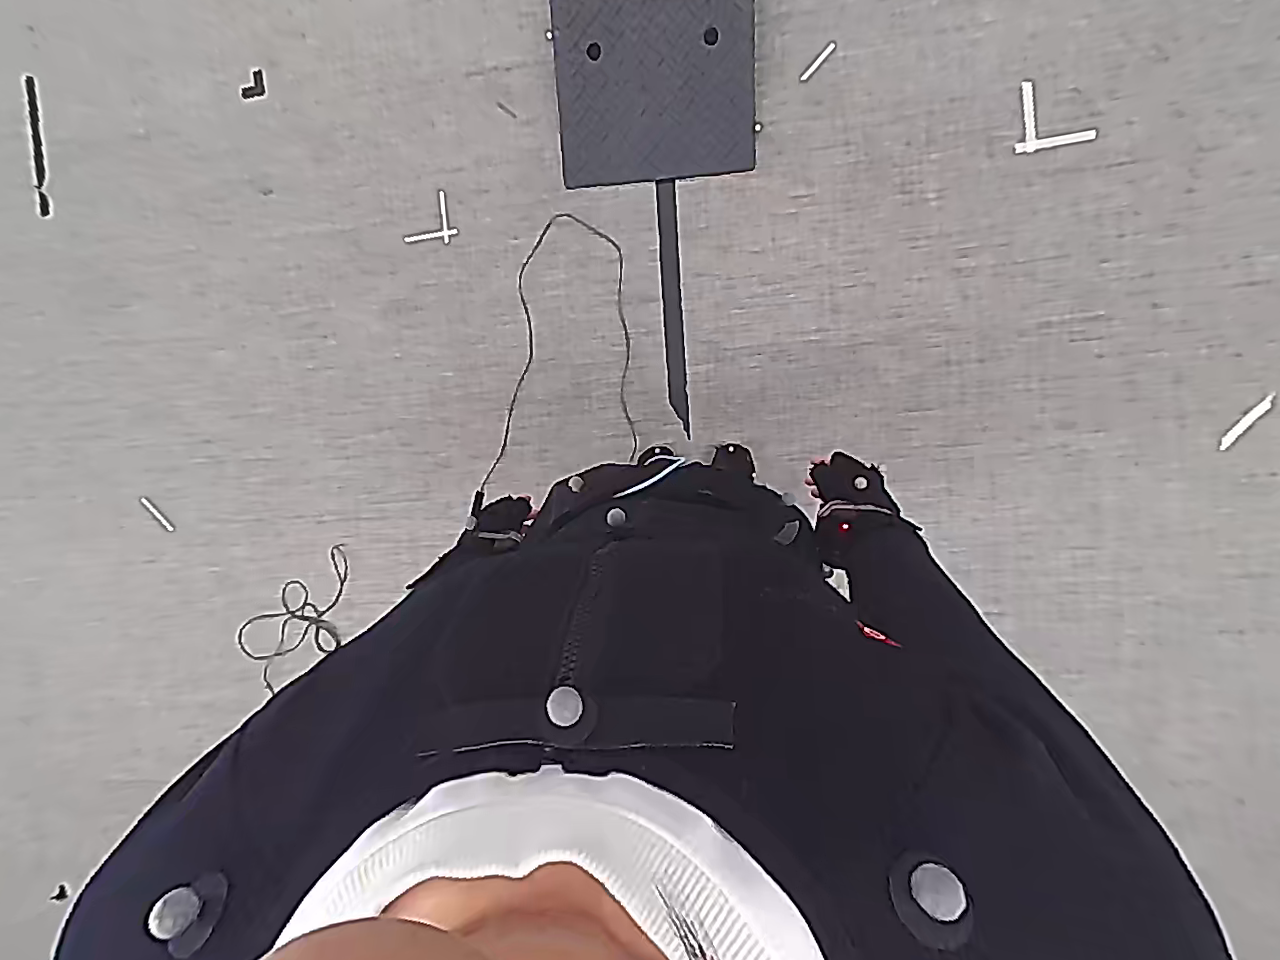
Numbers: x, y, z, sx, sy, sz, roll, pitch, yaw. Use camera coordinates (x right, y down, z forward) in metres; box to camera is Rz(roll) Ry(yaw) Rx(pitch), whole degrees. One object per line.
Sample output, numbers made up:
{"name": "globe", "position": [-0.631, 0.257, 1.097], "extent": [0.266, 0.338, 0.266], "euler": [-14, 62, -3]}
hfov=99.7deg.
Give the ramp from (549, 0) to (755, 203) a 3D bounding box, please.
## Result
{"name": "ramp", "position": [0.016, -1.235, 1.299], "extent": [0.509, 0.206, 0.991], "euler": [-5, 93, 7]}
